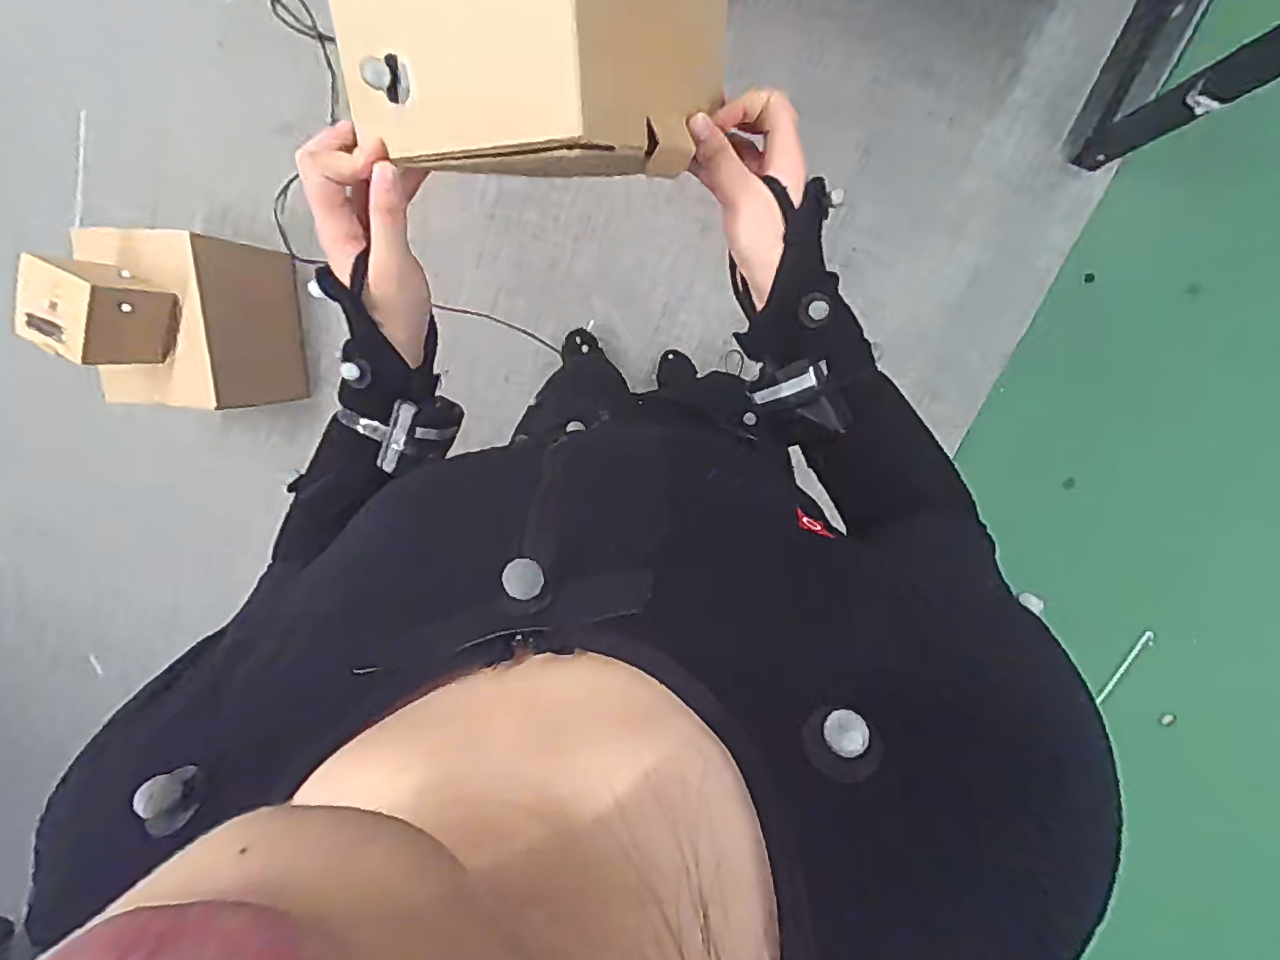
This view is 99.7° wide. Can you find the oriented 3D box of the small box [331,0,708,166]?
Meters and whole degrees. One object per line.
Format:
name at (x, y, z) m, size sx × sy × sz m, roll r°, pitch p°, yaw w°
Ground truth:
small box at (-0.065, -0.291, 0.325) m, size 0.179 × 0.168 × 0.176 m, roll 15°, pitch 123°, yaw 28°
